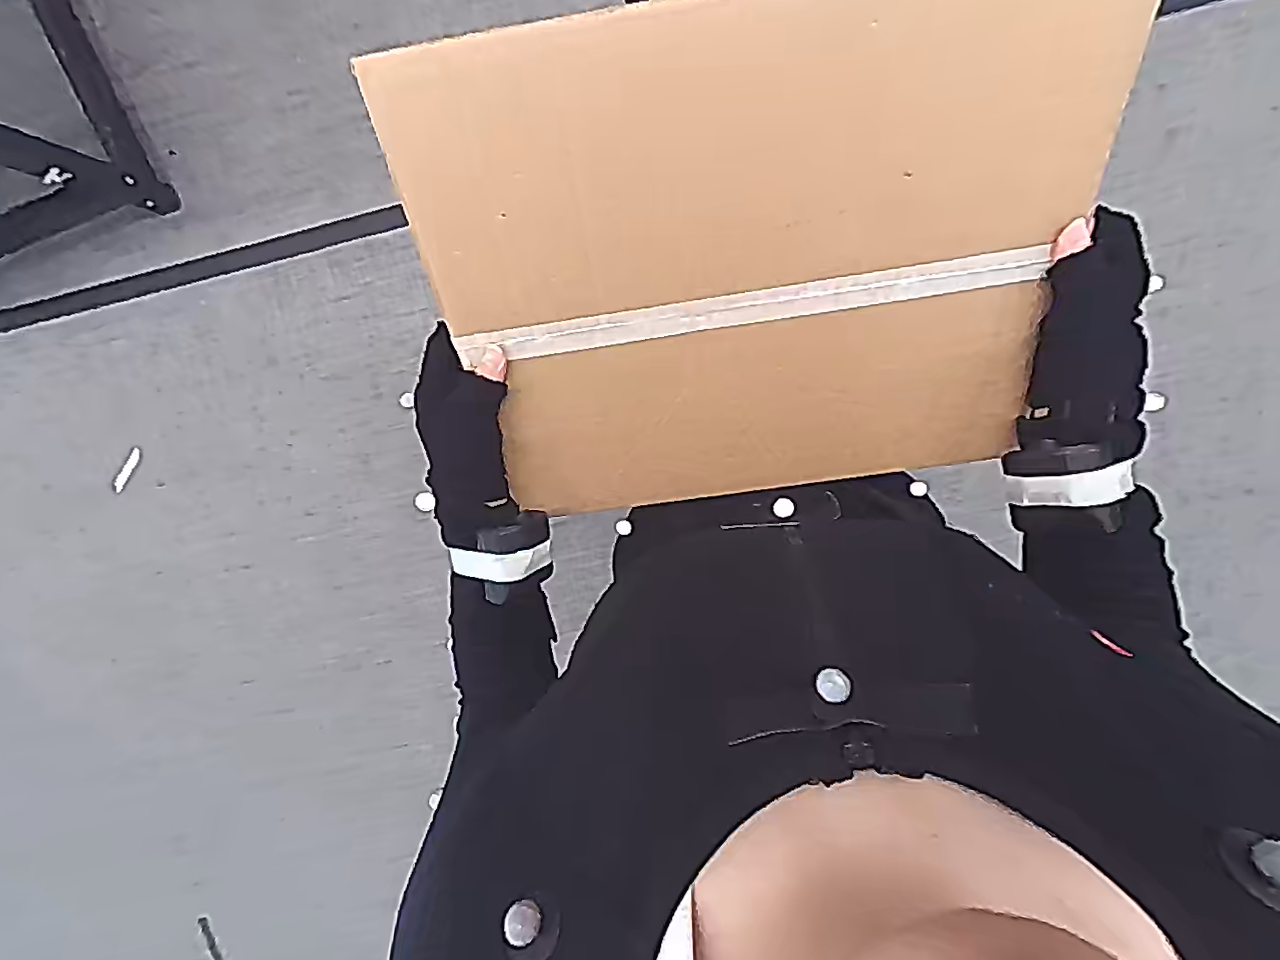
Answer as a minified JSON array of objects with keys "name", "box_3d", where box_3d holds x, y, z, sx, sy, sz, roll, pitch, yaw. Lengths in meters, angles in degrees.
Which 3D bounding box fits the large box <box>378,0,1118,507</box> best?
[{"name":"large box","box_3d":[0.067,-0.213,0.489,0.408,0.320,0.320,-8,127,3]}]
